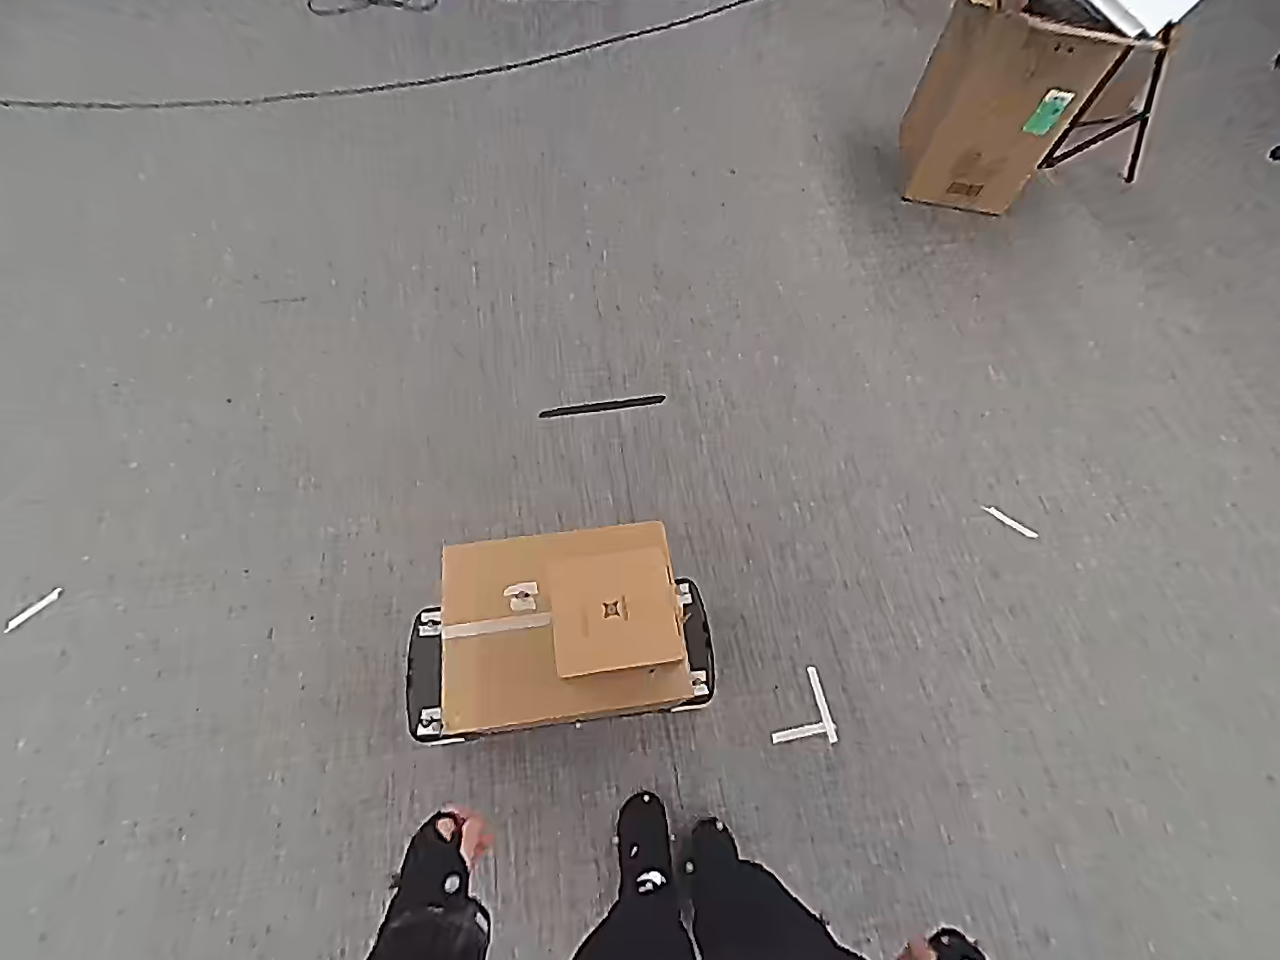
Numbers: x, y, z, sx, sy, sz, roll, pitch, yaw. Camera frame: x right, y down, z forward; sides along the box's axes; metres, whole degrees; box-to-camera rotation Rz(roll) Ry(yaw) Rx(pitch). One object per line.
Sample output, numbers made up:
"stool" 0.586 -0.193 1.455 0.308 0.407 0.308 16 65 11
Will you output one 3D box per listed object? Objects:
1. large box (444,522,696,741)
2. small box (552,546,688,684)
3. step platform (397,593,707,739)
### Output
"large box" -0.130 0.301 1.048 0.408 0.320 0.320 -7 64 -4
"small box" -0.034 0.210 0.823 0.179 0.176 0.168 -7 66 -5
"step platform" -0.189 0.426 1.250 0.684 0.204 0.286 -2 65 -2
